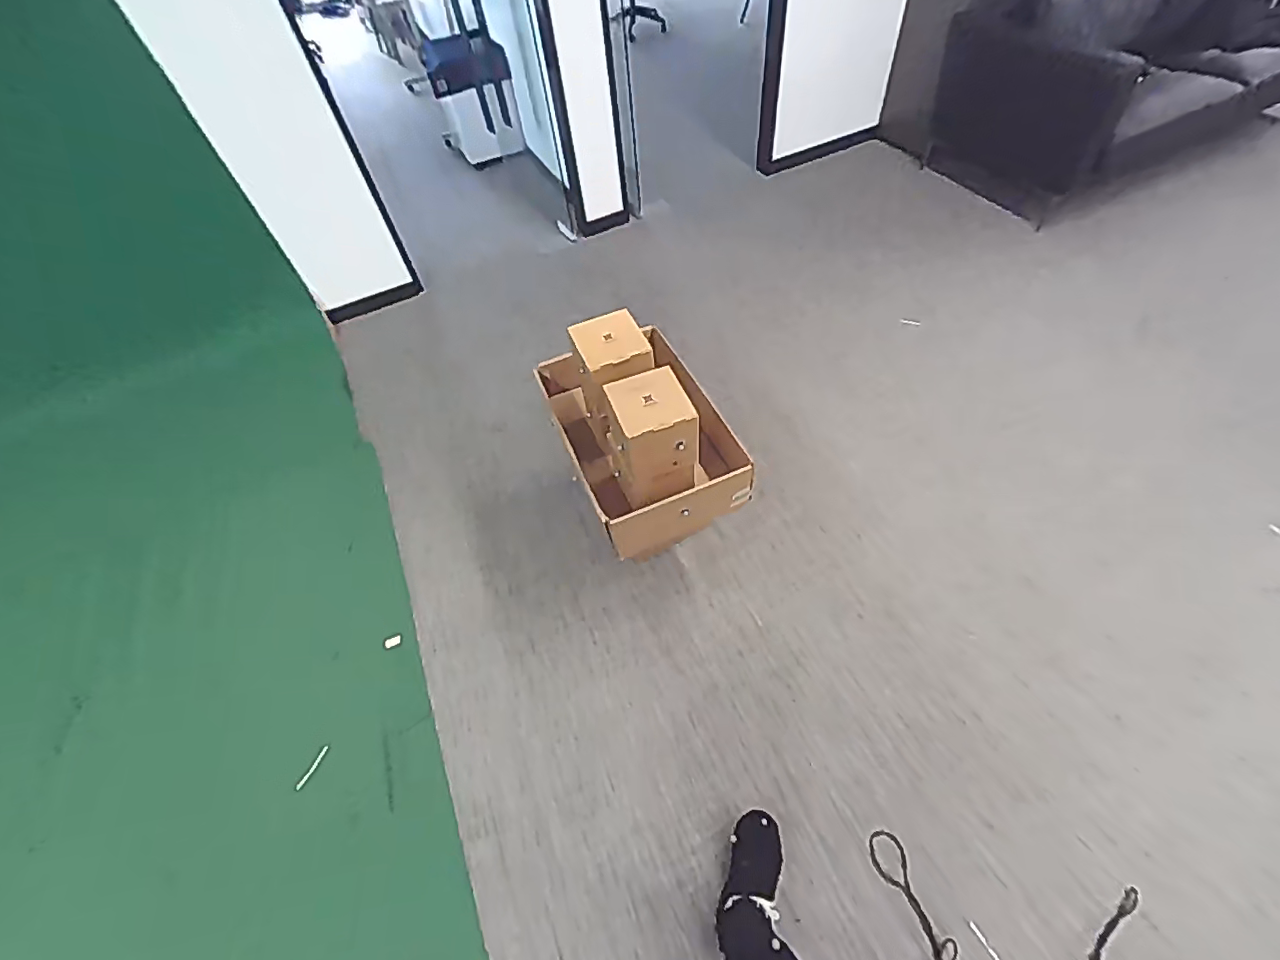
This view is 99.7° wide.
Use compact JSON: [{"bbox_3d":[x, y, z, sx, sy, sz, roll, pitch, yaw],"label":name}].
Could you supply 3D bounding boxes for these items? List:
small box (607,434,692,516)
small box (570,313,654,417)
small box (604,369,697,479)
[{"bbox_3d":[0.029,-0.028,1.388,0.168,0.176,0.179,-20,53,-9],"label":"small box"},{"bbox_3d":[-0.070,-0.295,1.398,0.168,0.176,0.179,-21,56,-10],"label":"small box"},{"bbox_3d":[0.027,-0.122,1.254,0.168,0.176,0.179,-18,53,-9],"label":"small box"}]
